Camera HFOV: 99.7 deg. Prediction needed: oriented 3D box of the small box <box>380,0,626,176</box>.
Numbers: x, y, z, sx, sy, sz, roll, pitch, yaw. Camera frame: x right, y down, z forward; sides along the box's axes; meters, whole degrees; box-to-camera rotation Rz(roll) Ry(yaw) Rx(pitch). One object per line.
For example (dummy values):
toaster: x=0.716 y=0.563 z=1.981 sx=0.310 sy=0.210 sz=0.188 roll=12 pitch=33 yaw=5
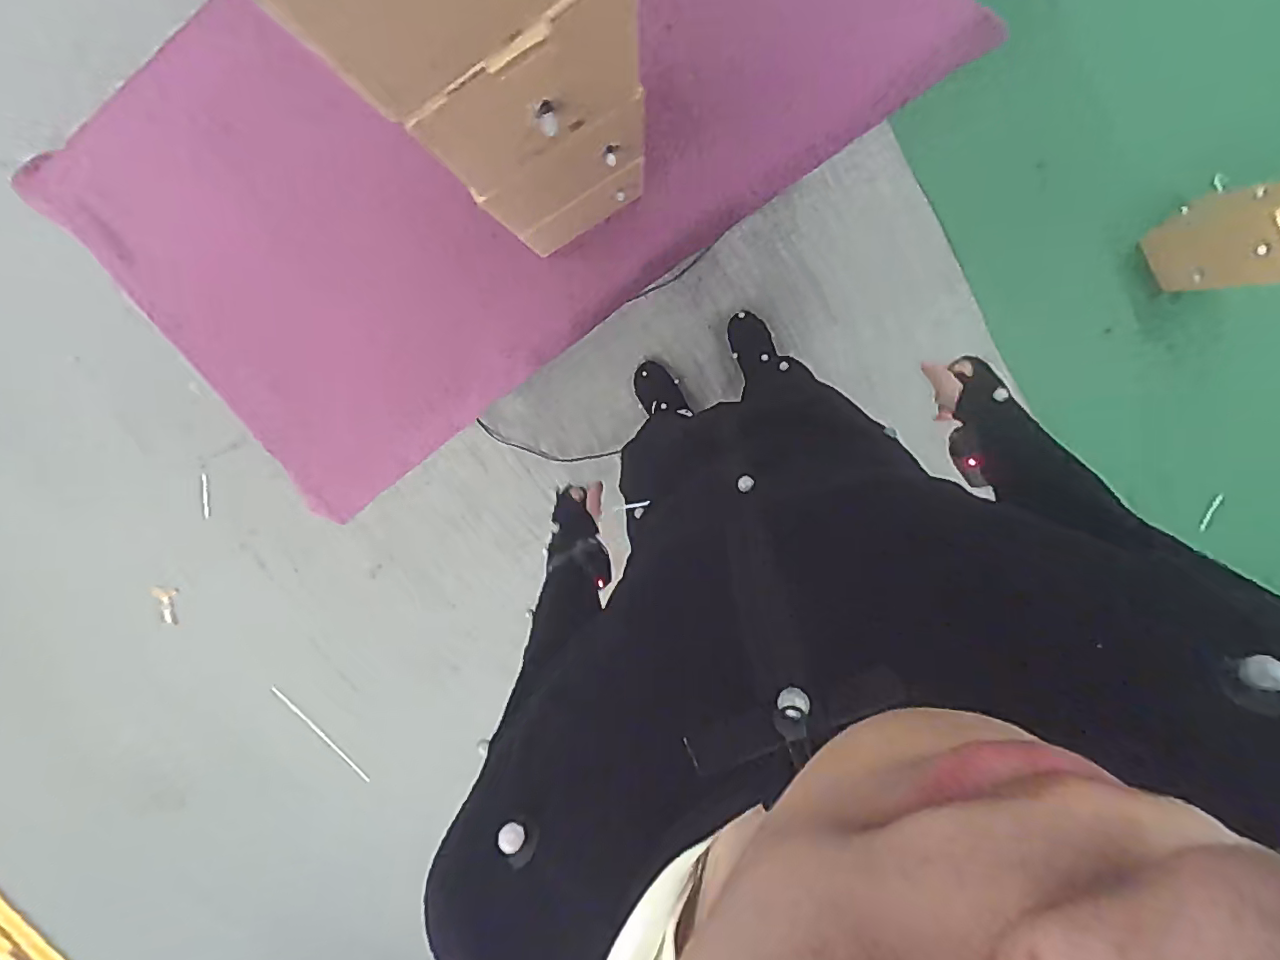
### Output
small box: x=-0.119 y=-0.344 z=0.377 sx=0.168 sy=0.176 sz=0.179 roll=-30 pitch=102 yaw=7

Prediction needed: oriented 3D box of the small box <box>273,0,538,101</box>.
small box: x=-0.121 y=-0.306 z=0.217 sx=0.179 sy=0.176 sz=0.168 roll=-32 pitch=101 yaw=7

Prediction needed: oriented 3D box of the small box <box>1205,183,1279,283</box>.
small box: x=1.458 y=-0.564 z=1.218 sx=0.168 sy=0.176 sz=0.179 roll=-35 pitch=101 yaw=9

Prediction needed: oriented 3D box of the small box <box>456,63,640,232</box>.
small box: x=-0.114 y=-0.378 z=0.537 sx=0.179 sy=0.176 sz=0.168 roll=-29 pitch=102 yaw=8

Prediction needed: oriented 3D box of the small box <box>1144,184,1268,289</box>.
small box: x=1.460 y=-0.607 z=1.375 sx=0.168 sy=0.176 sz=0.179 roll=-37 pitch=102 yaw=9
